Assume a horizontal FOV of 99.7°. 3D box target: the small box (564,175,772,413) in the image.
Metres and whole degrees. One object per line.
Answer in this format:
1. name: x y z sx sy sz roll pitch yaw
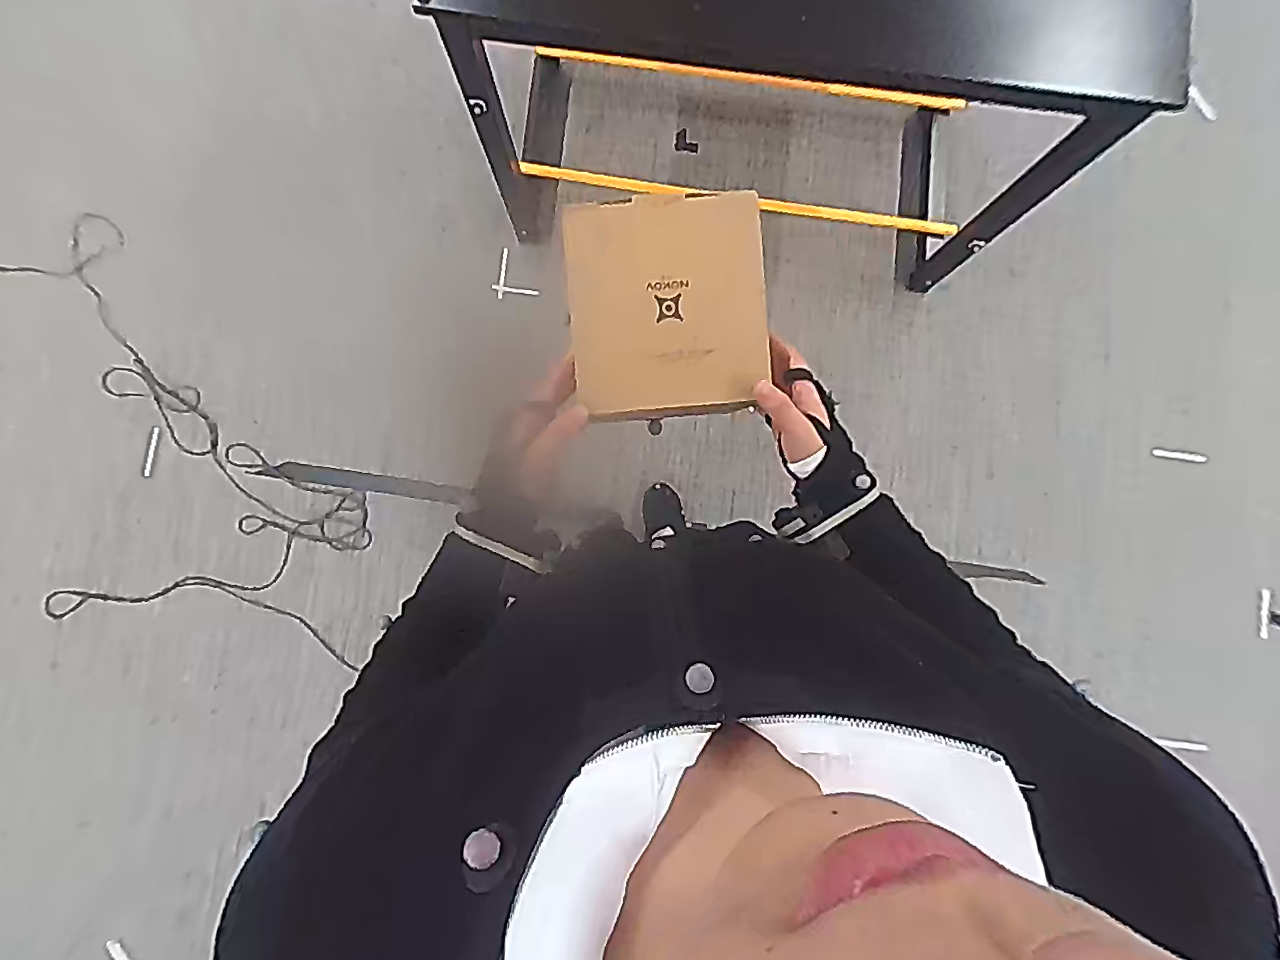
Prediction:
1. small box: 0.021 -0.164 0.528 0.168 0.176 0.179 -5 94 -1
